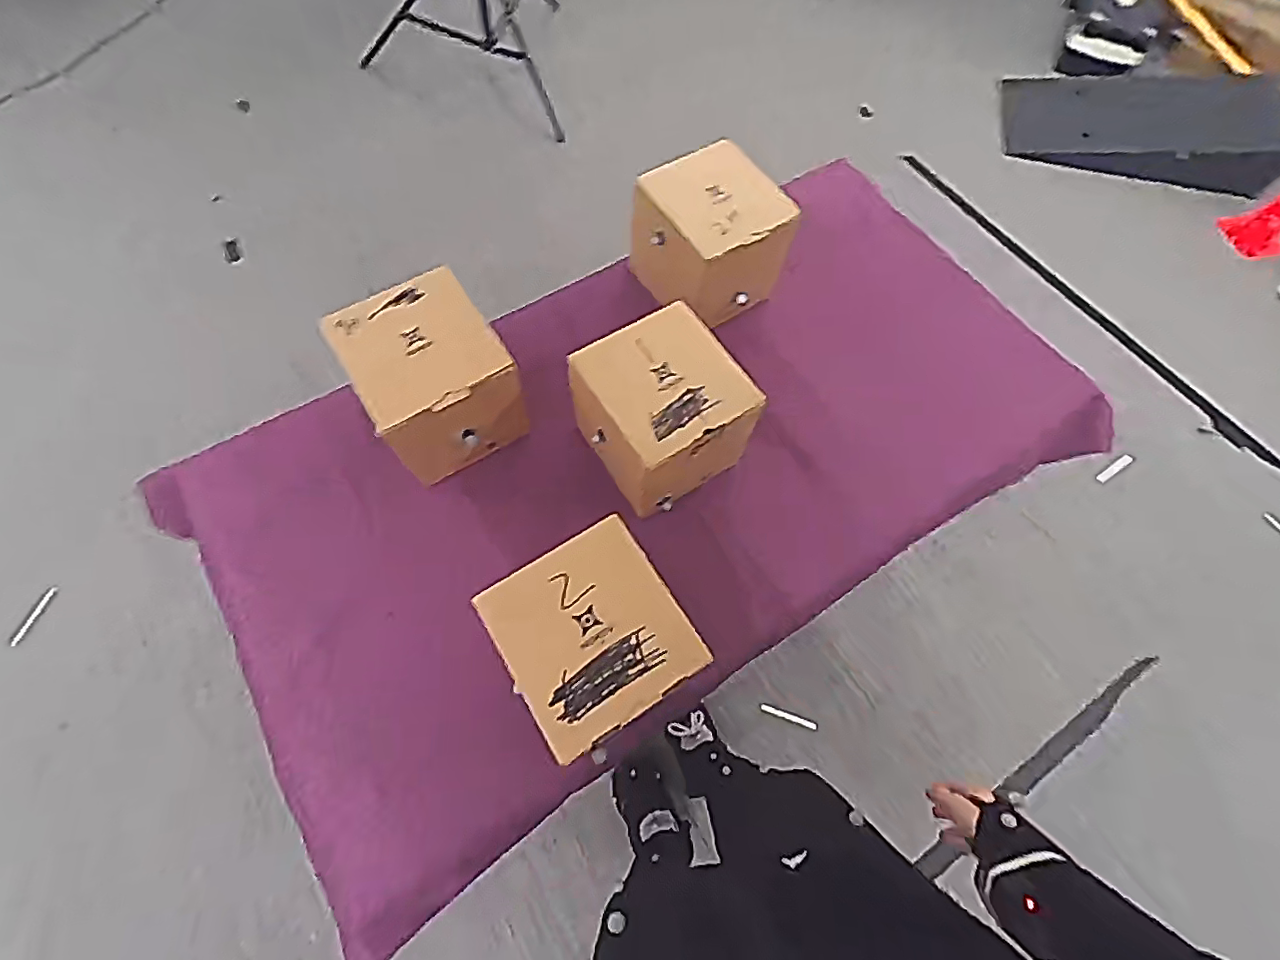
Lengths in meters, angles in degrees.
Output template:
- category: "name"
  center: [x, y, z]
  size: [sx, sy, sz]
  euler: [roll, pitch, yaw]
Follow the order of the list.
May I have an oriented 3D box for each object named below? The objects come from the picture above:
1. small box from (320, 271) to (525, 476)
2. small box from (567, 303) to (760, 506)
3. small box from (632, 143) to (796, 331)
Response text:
- category: "small box"
  center: [-0.266, -0.124, 0.703]
  size: [0.168, 0.176, 0.179]
  euler: [-31, 74, -15]
- category: "small box"
  center: [0.024, -0.085, 0.703]
  size: [0.168, 0.176, 0.179]
  euler: [-30, 71, -14]
- category: "small box"
  center: [0.097, -0.358, 0.820]
  size: [0.168, 0.176, 0.179]
  euler: [-31, 73, -14]
